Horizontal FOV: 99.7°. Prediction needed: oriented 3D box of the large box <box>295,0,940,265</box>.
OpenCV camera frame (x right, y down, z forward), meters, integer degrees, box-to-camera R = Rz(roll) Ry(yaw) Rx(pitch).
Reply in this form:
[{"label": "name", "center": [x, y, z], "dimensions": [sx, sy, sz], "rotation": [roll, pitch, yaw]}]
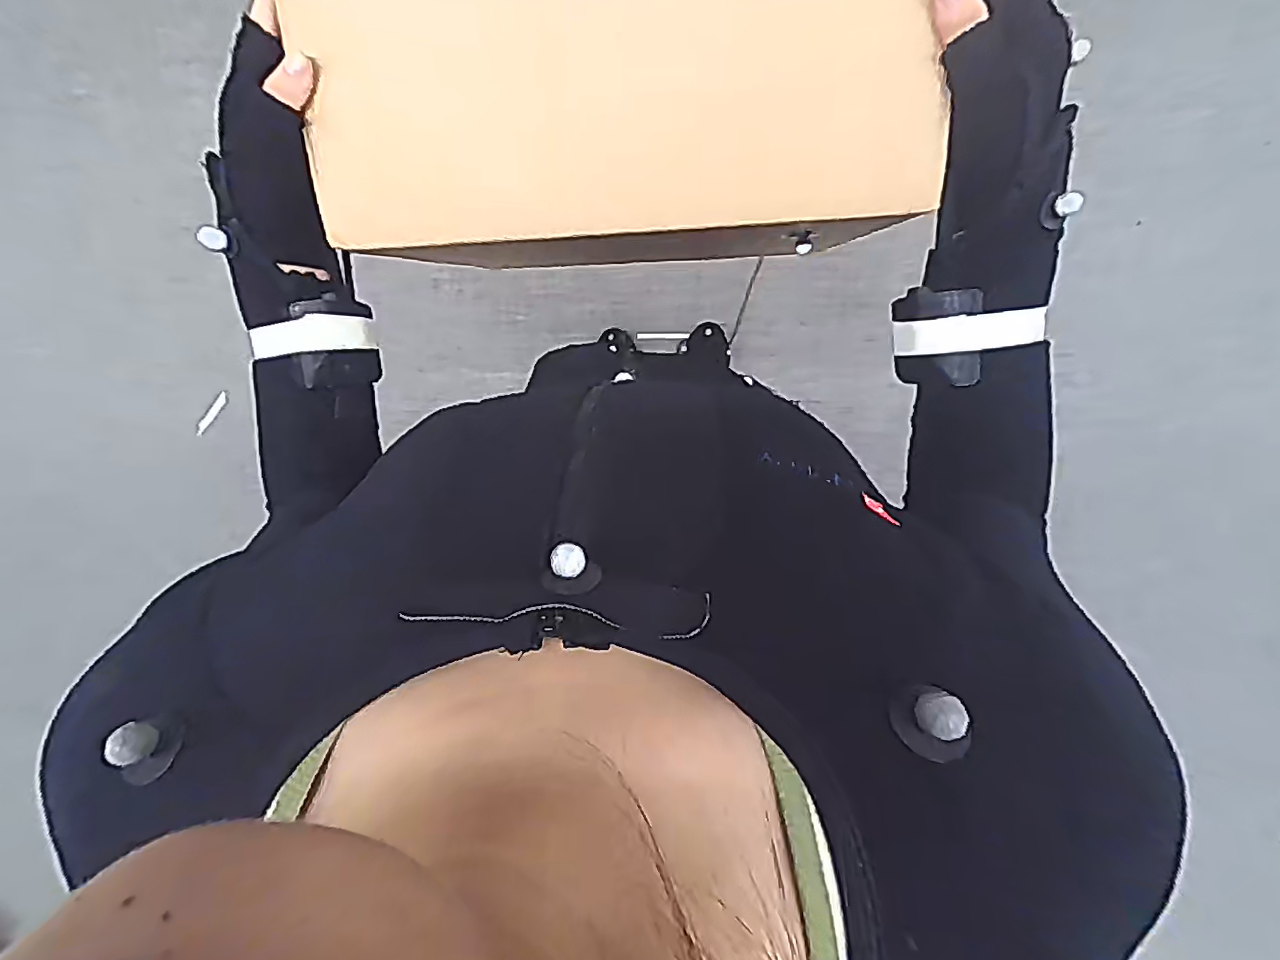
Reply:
[{"label": "large box", "center": [-0.008, -0.365, 0.461], "dimensions": [0.408, 0.320, 0.320], "rotation": [-1, 108, 6]}]
